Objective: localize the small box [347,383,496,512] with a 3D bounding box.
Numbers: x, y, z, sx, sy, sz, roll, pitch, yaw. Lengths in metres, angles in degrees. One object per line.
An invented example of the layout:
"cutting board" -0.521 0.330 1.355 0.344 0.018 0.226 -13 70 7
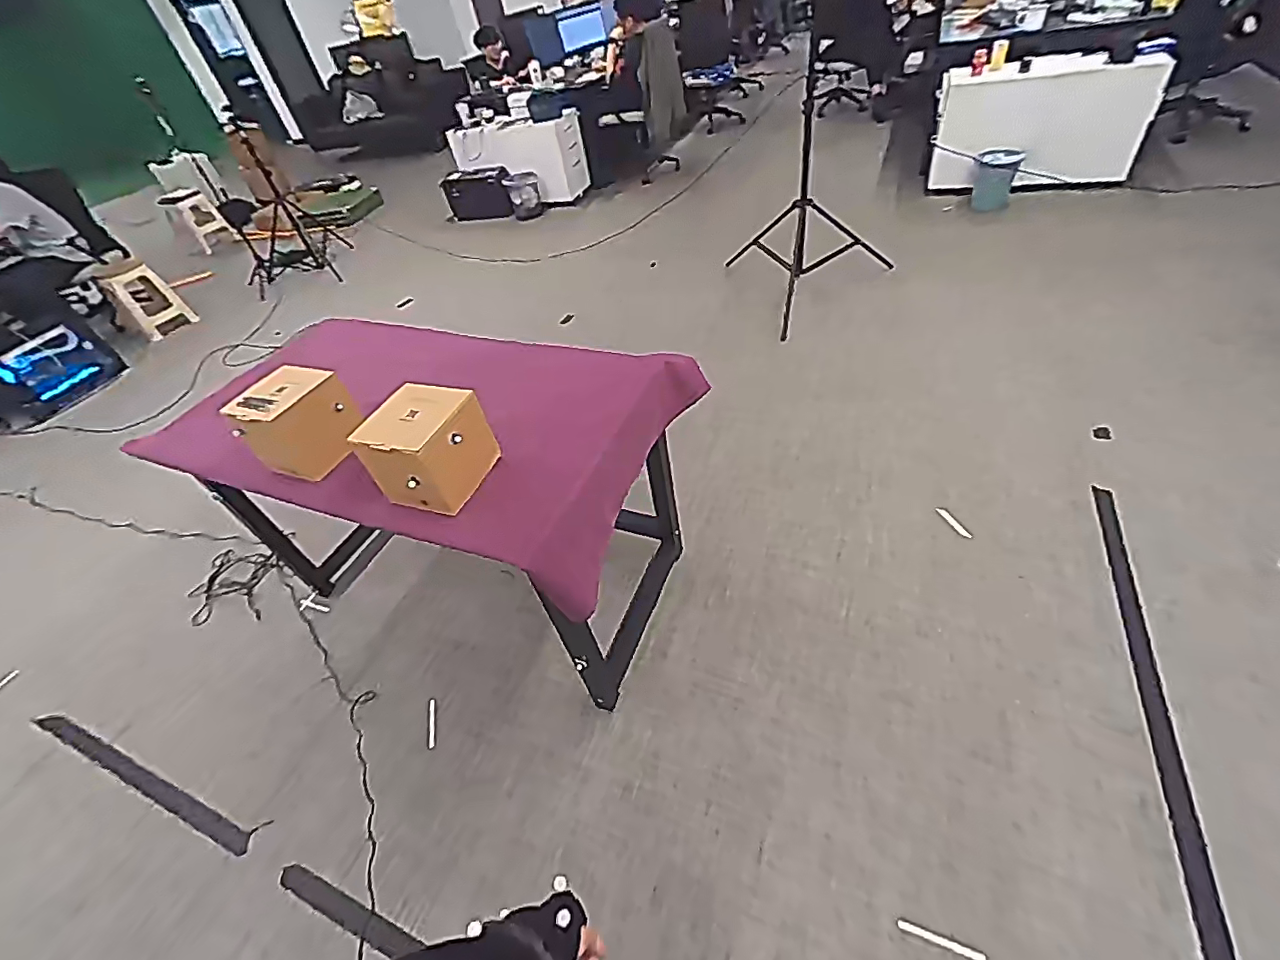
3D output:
"small box" -0.402 -0.062 1.034 0.168 0.176 0.179 9 48 20
